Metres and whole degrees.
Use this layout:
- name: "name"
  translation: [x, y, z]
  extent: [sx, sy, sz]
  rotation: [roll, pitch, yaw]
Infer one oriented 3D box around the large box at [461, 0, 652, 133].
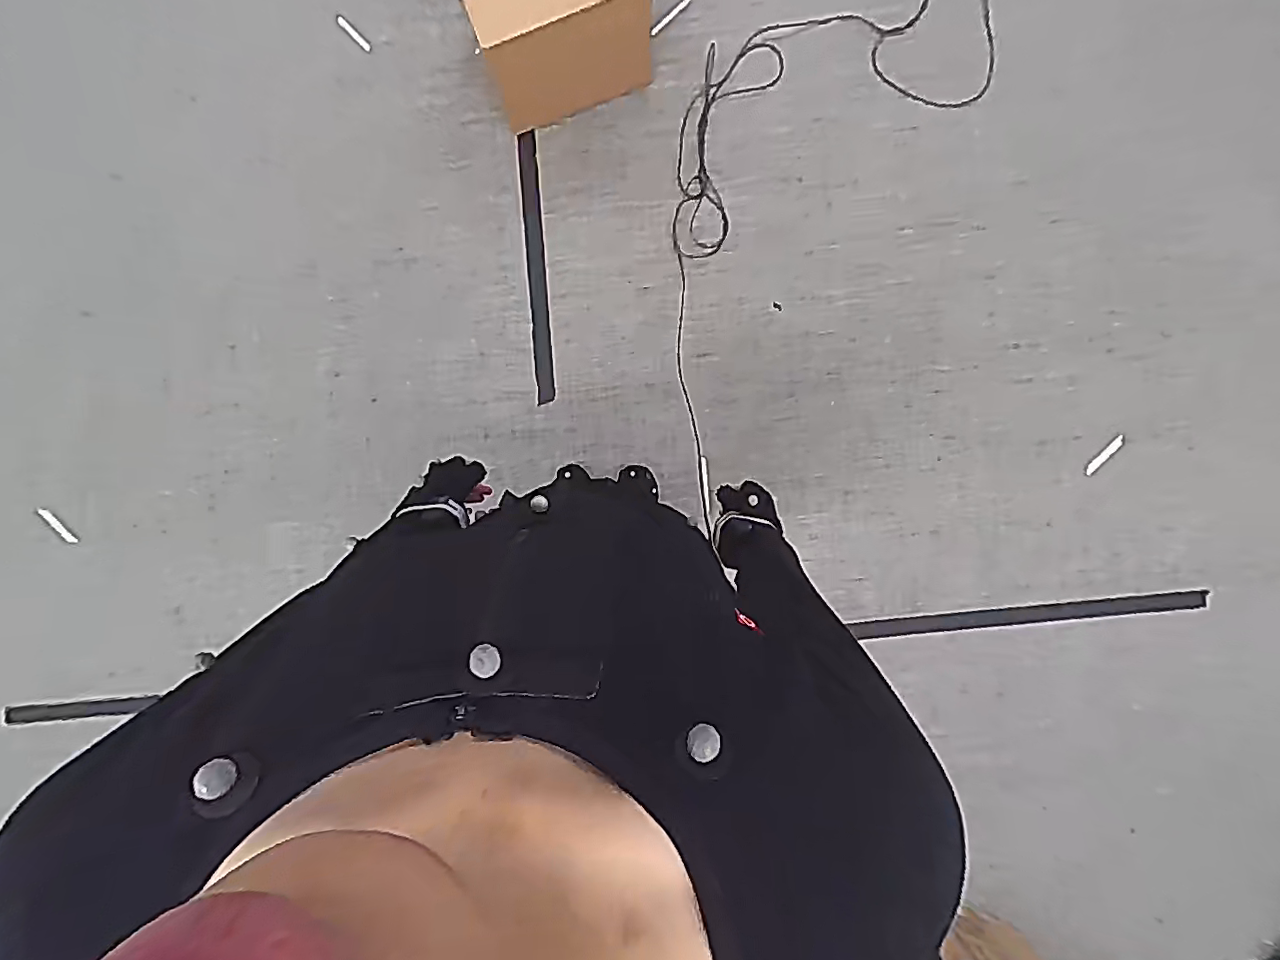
- name: "large box"
  translation: [-0.211, -1.152, 1.321]
  extent: [0.408, 0.320, 0.320]
  rotation: [-21, 91, 0]
